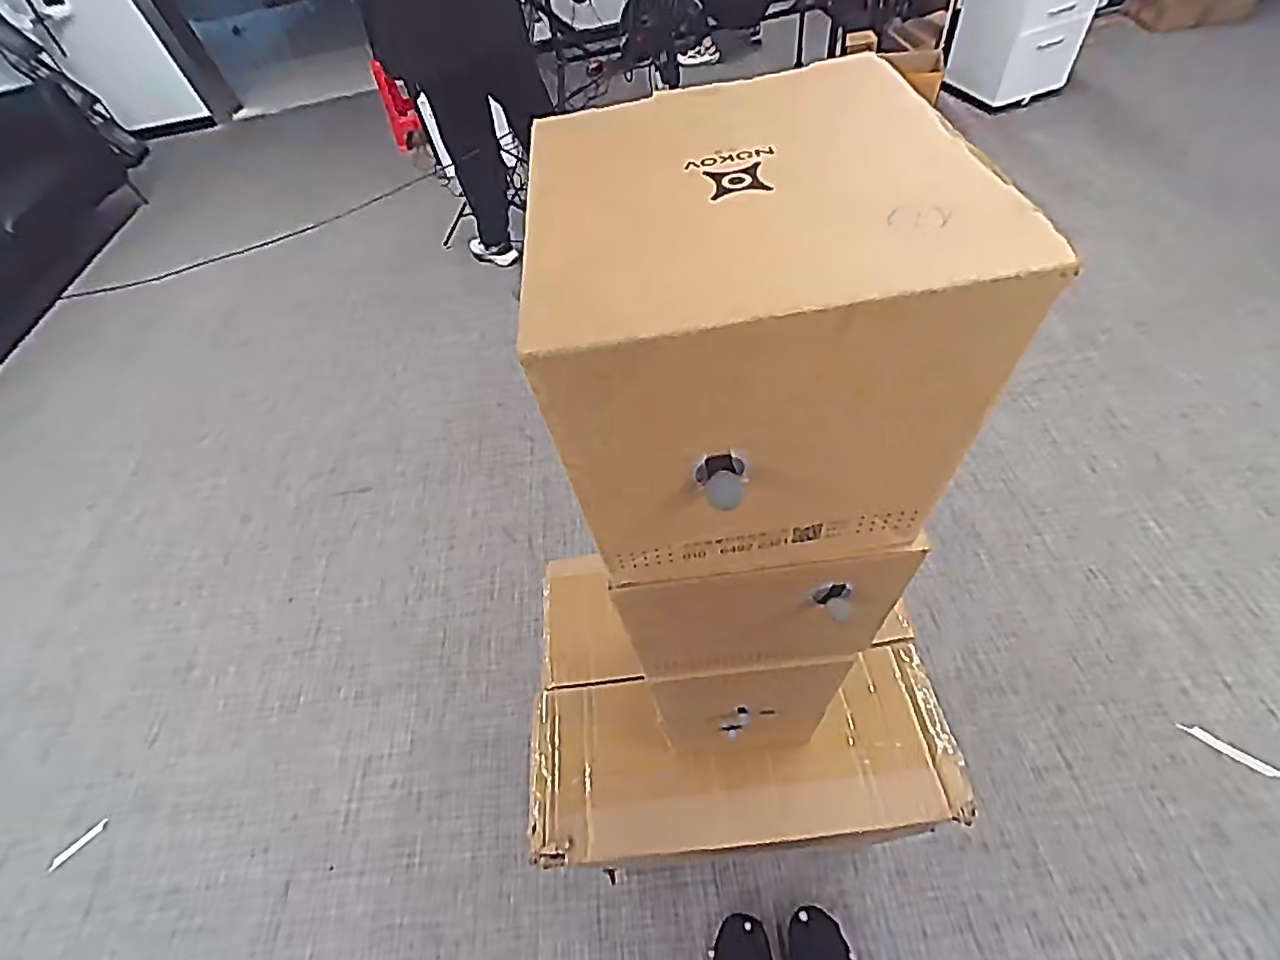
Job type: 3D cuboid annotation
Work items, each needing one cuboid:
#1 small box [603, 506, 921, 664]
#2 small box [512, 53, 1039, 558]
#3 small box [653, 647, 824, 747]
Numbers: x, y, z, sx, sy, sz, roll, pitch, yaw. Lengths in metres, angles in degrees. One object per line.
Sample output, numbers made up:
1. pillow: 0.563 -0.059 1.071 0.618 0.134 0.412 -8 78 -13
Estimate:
1. small box: 0.071 0.025 0.403 0.179 0.176 0.168 -8 53 4
2. small box: 0.044 -0.073 0.276 0.168 0.176 0.179 -9 53 3
3. small box: 0.111 0.220 0.665 0.179 0.176 0.168 -7 53 4
